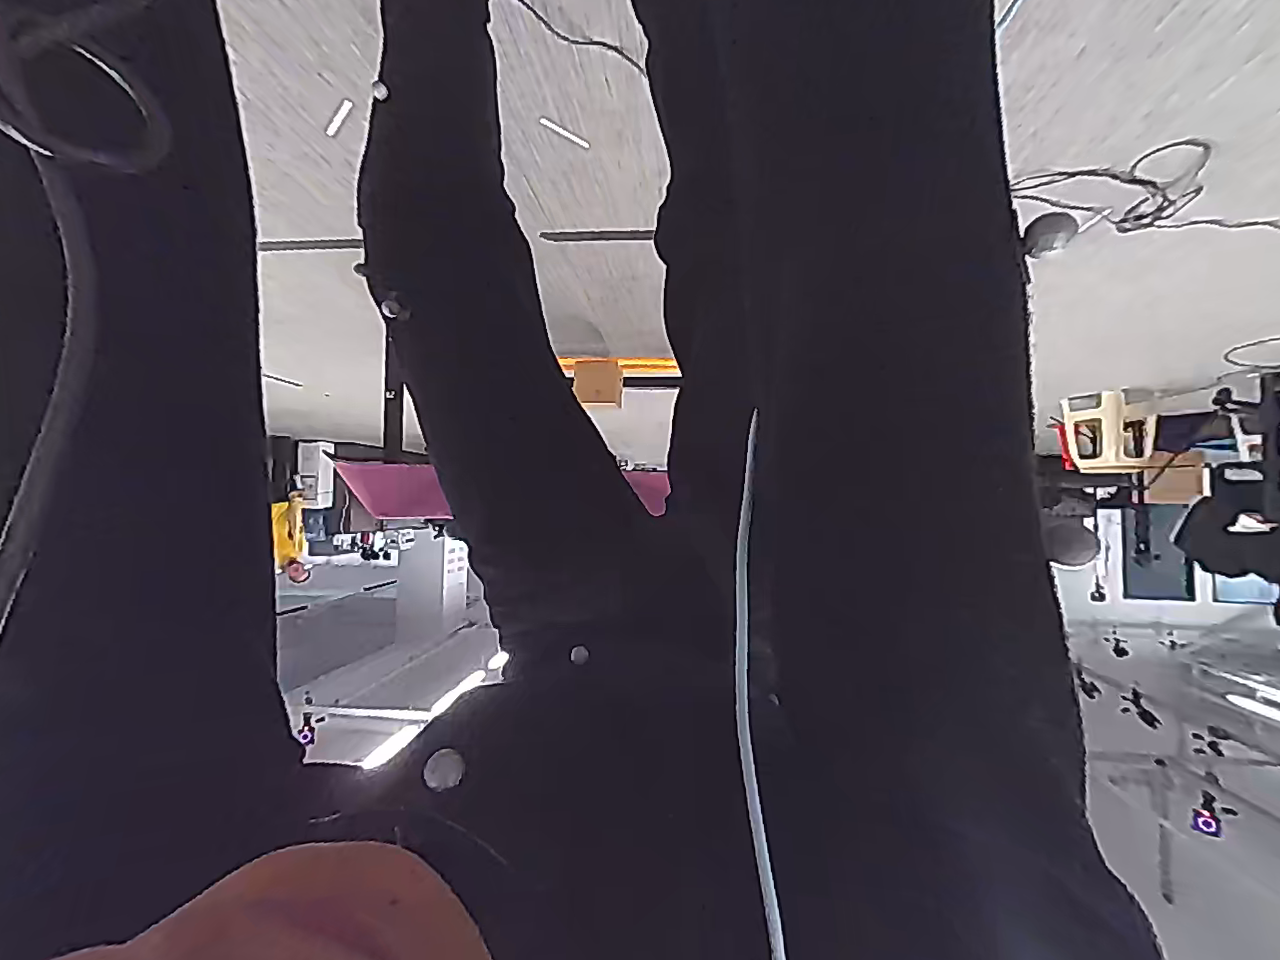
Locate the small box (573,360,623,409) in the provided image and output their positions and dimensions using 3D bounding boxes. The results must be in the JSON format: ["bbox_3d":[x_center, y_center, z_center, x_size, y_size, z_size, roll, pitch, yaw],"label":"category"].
[{"bbox_3d":[-0.170,-0.392,2.227,0.179,0.176,0.168,1,178,7],"label":"small box"}]
